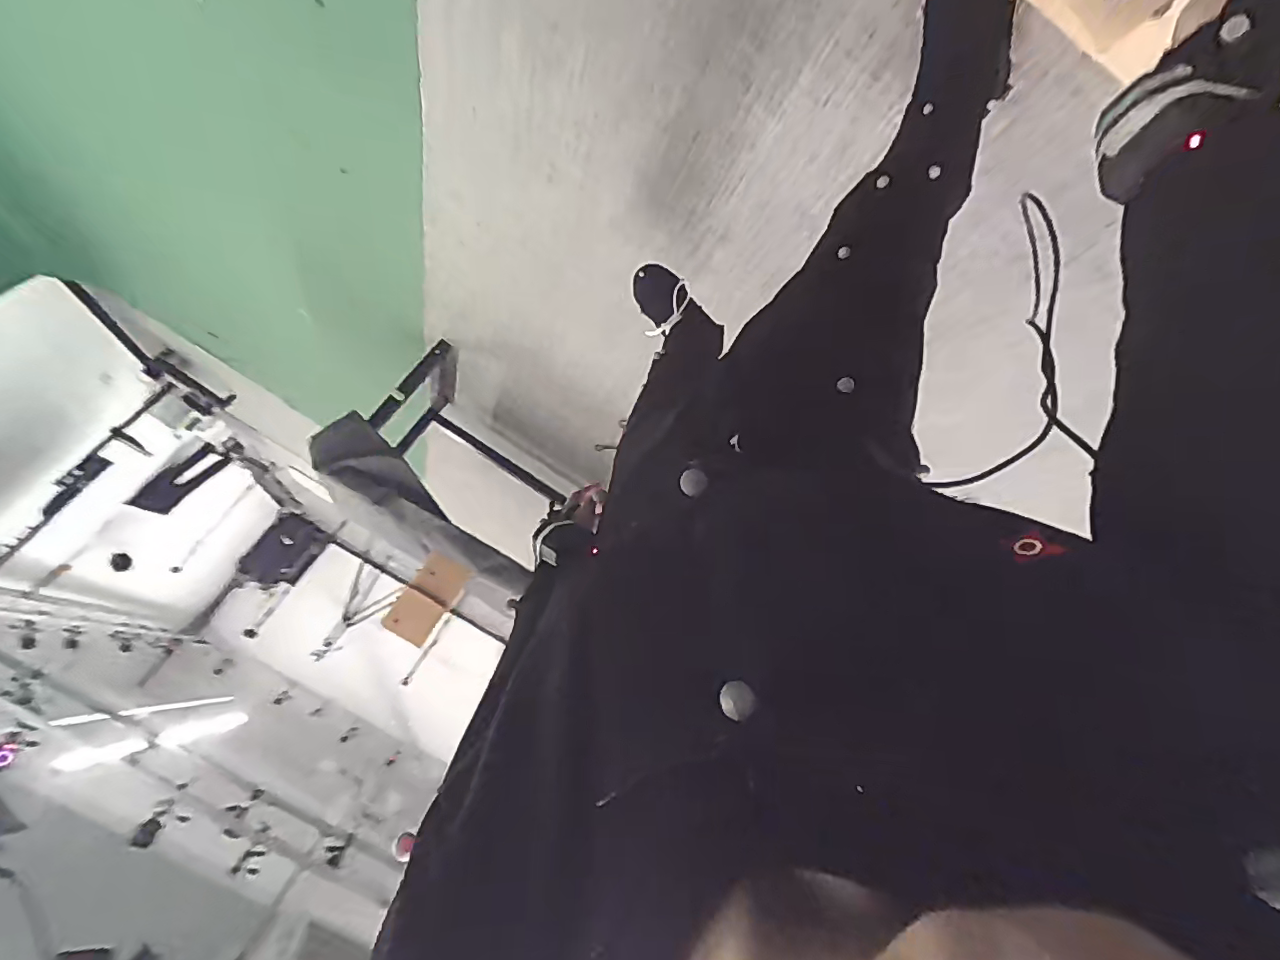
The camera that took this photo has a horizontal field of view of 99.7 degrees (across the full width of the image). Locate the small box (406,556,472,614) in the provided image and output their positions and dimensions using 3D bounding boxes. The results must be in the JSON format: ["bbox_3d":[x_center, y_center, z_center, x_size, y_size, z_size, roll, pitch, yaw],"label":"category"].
[{"bbox_3d":[-0.796,0.413,2.138,0.179,0.176,0.168,37,154,-14],"label":"small box"}]

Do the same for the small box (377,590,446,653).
[{"bbox_3d":[-0.863,0.532,2.048,0.179,0.176,0.168,39,153,-15],"label":"small box"}]
